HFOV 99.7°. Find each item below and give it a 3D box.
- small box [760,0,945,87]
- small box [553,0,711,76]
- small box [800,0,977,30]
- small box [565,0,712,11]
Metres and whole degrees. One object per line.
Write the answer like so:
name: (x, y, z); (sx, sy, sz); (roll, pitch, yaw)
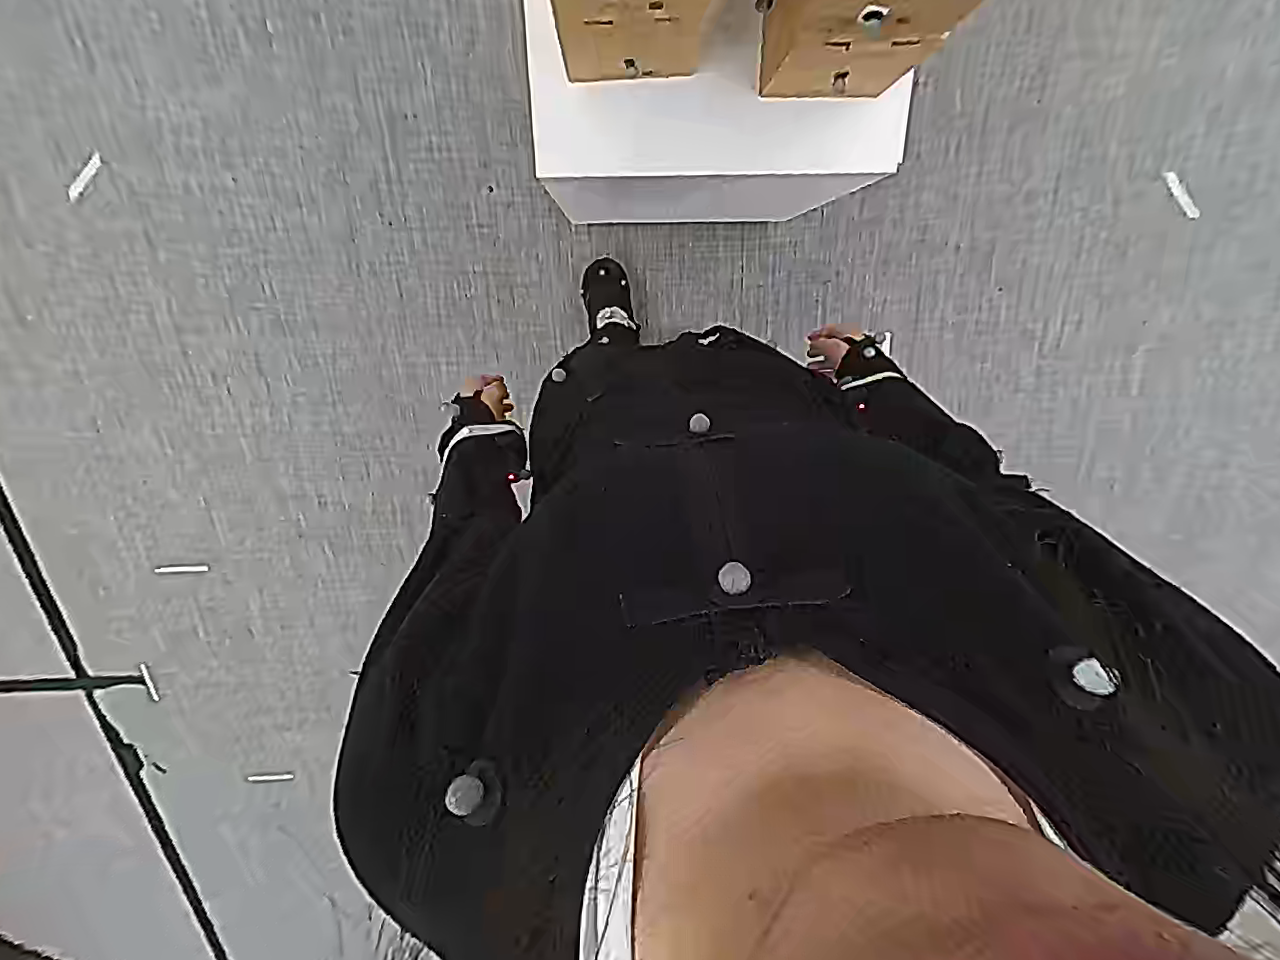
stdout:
small box: (0.239, -0.574, 0.617); (0.168, 0.176, 0.179); (-1, 111, -2)
small box: (-0.015, -0.588, 0.604); (0.168, 0.176, 0.179); (-4, 110, -1)
small box: (0.244, -0.529, 0.462); (0.168, 0.176, 0.179); (0, 110, 0)
small box: (-0.006, -0.531, 0.452); (0.168, 0.176, 0.179); (-3, 109, -1)
